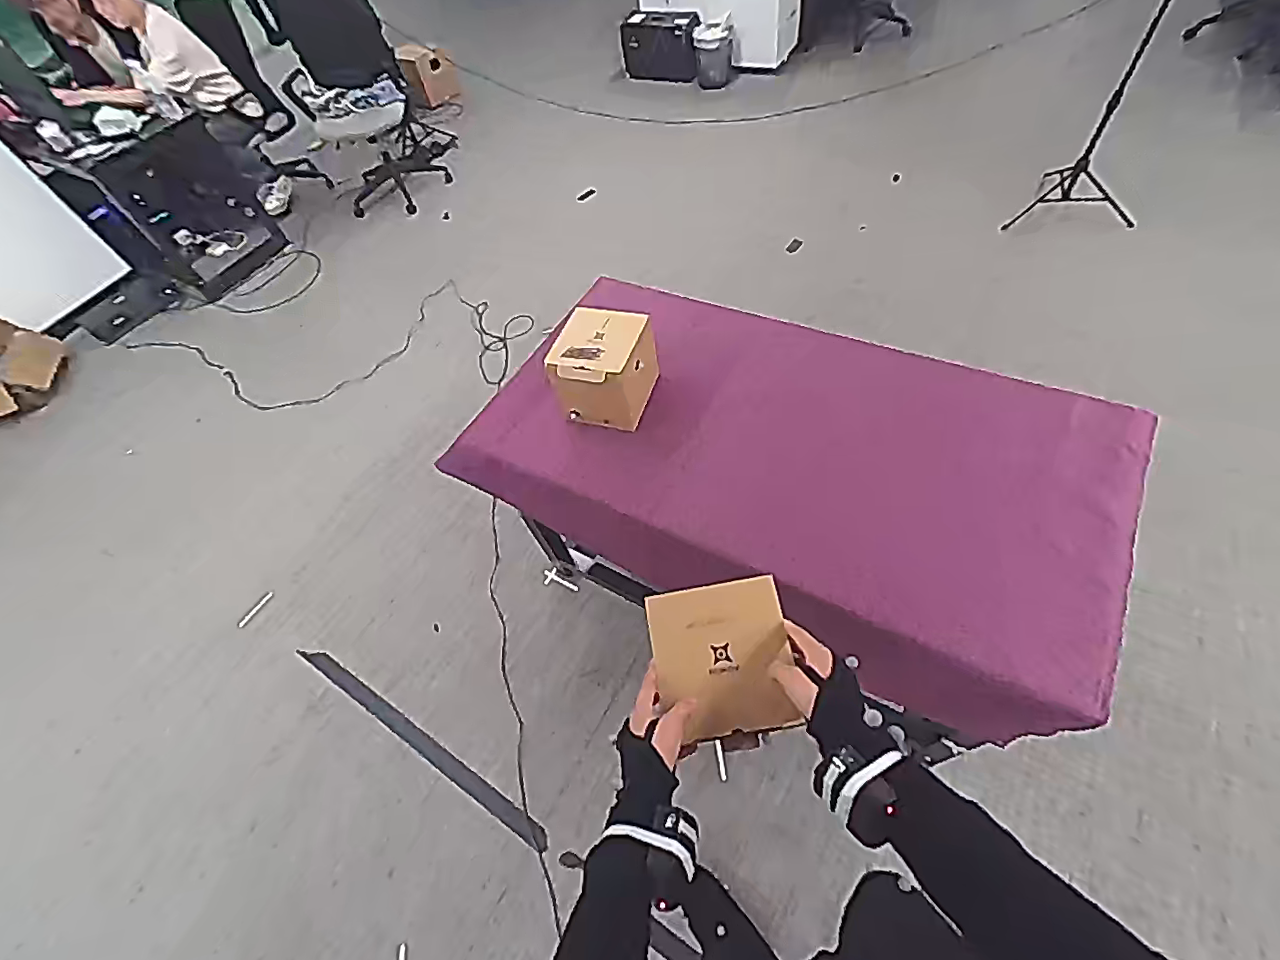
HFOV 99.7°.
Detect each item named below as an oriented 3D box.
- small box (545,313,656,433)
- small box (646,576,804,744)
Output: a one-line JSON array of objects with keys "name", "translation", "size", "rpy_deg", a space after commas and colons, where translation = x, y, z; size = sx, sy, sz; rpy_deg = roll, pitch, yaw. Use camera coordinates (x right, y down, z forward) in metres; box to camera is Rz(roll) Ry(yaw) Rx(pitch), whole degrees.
[{"name": "small box", "translation": [-0.072, -0.223, 1.140], "size": [0.168, 0.176, 0.179], "rpy_deg": [11, 58, 17]}, {"name": "small box", "translation": [0.109, 0.242, 0.722], "size": [0.168, 0.176, 0.179], "rpy_deg": [-10, 65, 4]}]
